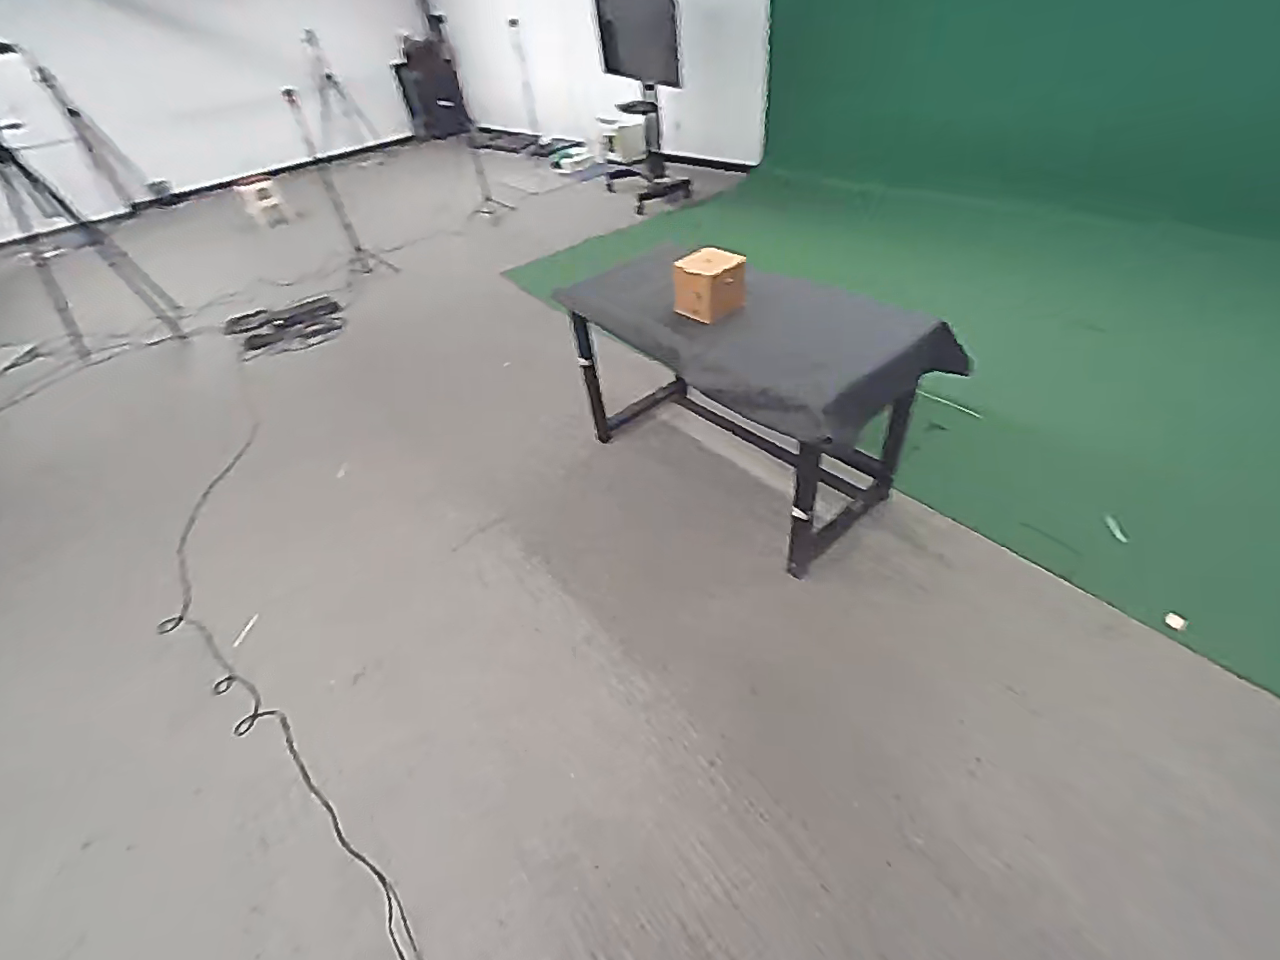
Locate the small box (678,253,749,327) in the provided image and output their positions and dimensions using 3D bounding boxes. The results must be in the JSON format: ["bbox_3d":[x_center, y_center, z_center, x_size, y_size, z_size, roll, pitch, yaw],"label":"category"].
[{"bbox_3d":[0.248,-0.633,1.809,0.179,0.176,0.168,-32,48,-25],"label":"small box"}]
